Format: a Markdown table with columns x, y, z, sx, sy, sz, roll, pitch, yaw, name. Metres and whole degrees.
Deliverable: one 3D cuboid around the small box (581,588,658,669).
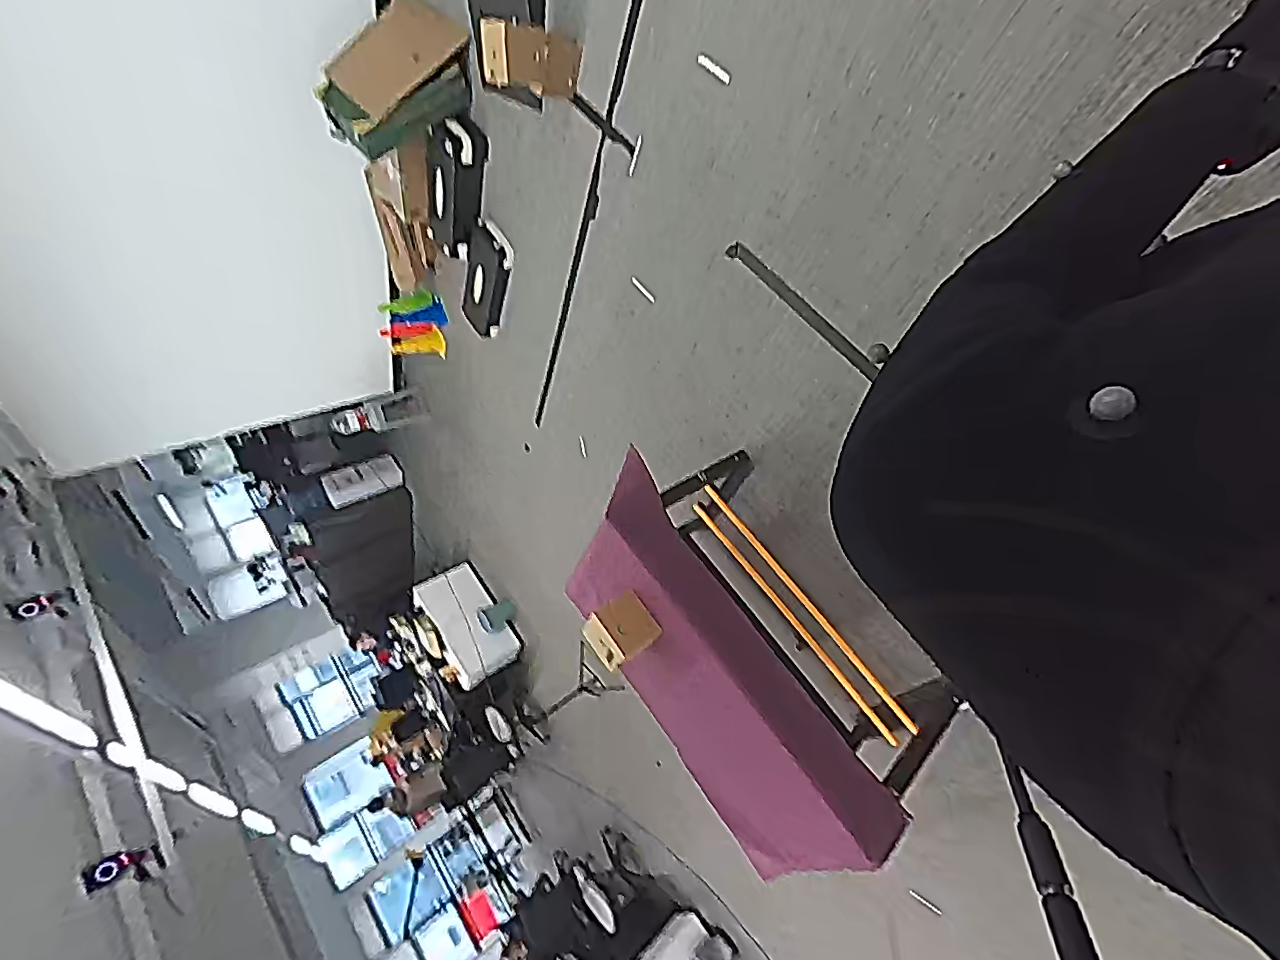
| x | y | z | sx | sy | sz | roll | pitch | yaw | name |
| --- | --- | --- | --- | --- | --- | --- | --- | --- | --- |
| -0.068 | 0.494 | 1.813 | 0.179 | 0.176 | 0.168 | 51 | 143 | 19 | small box |
